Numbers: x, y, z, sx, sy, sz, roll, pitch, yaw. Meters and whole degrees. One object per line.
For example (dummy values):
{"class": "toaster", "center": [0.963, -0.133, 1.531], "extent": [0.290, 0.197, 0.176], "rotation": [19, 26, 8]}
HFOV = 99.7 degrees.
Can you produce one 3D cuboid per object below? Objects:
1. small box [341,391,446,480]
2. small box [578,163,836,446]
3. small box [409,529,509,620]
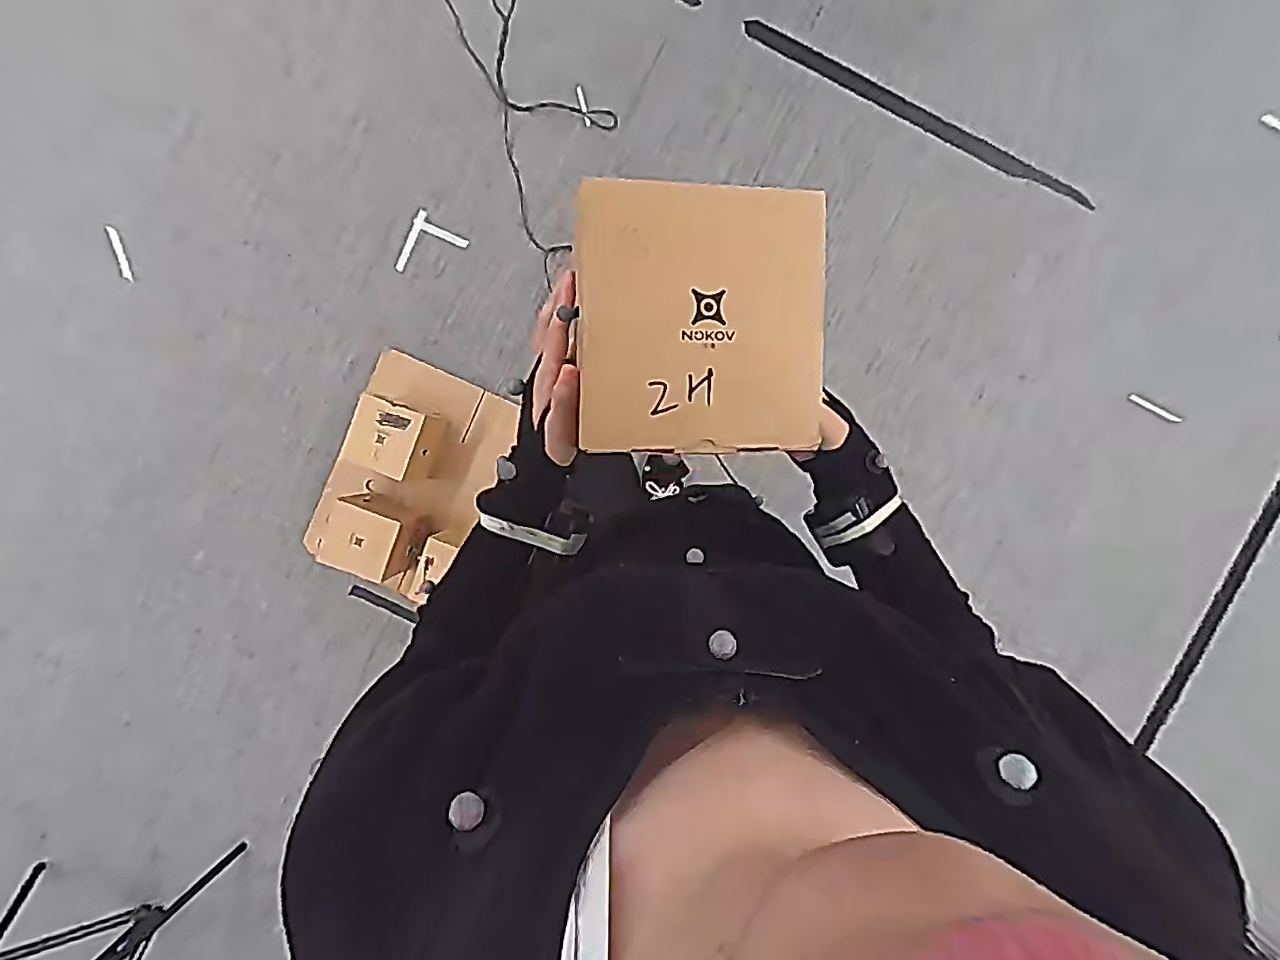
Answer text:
{"class": "small box", "center": [-0.620, -0.111, 1.387], "extent": [0.168, 0.176, 0.179], "rotation": [21, 93, -1]}
{"class": "small box", "center": [0.036, -0.116, 0.429], "extent": [0.168, 0.176, 0.179], "rotation": [-1, 96, -8]}
{"class": "small box", "center": [-0.459, 0.237, 1.401], "extent": [0.179, 0.176, 0.168], "rotation": [21, 92, -2]}
